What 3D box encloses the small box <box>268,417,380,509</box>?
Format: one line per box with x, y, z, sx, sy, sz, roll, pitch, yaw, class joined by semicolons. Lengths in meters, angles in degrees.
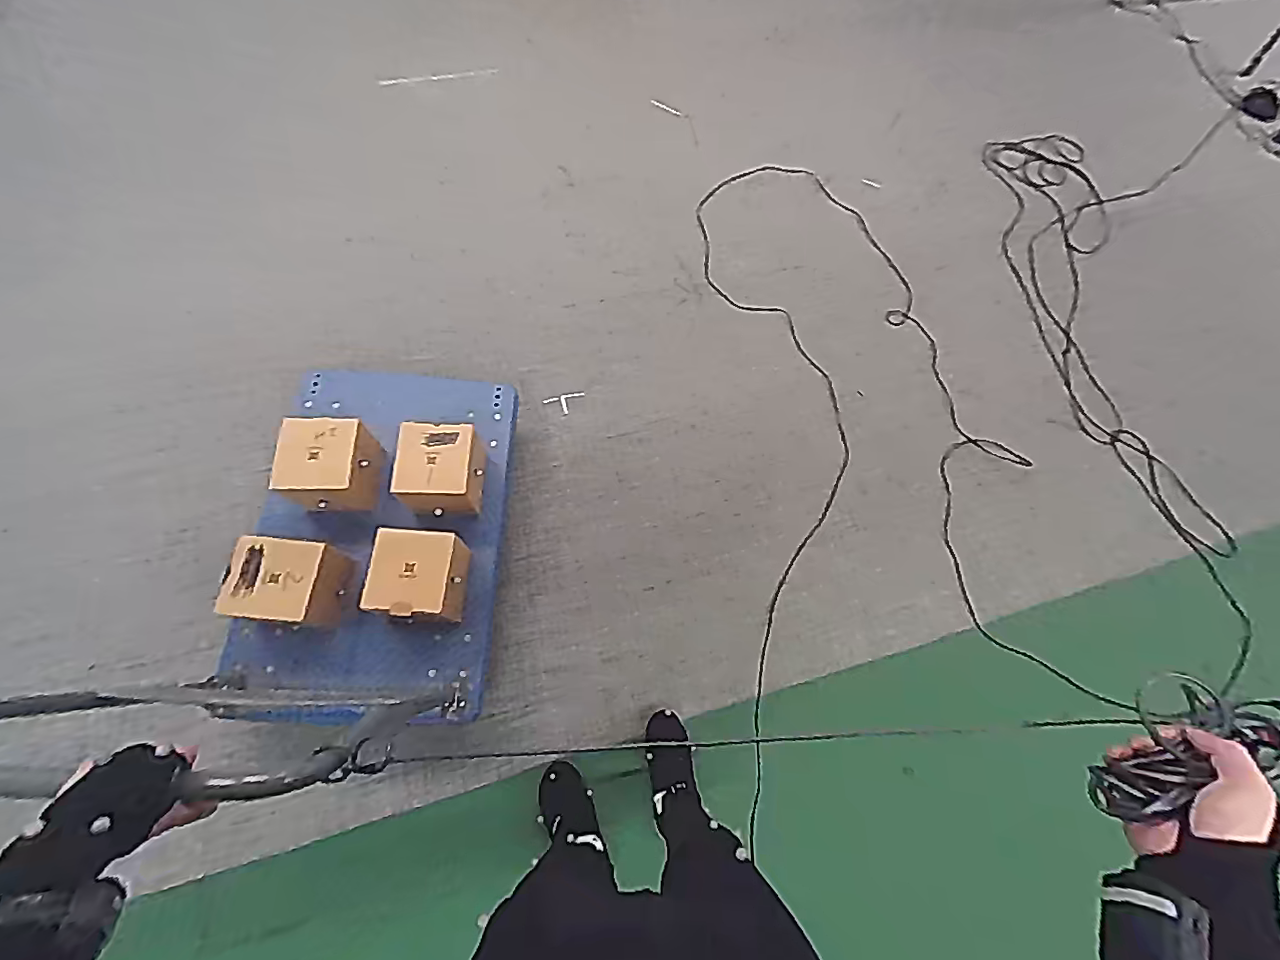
-0.734;-0.034;1.276;0.168;0.176;0.179;0;70;-6;small box

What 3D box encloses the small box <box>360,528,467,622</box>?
-0.494;0.217;1.210;0.168;0.176;0.179;4;70;-4;small box

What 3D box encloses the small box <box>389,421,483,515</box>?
-0.479;-0.025;1.298;0.168;0.176;0.179;2;71;-5;small box
